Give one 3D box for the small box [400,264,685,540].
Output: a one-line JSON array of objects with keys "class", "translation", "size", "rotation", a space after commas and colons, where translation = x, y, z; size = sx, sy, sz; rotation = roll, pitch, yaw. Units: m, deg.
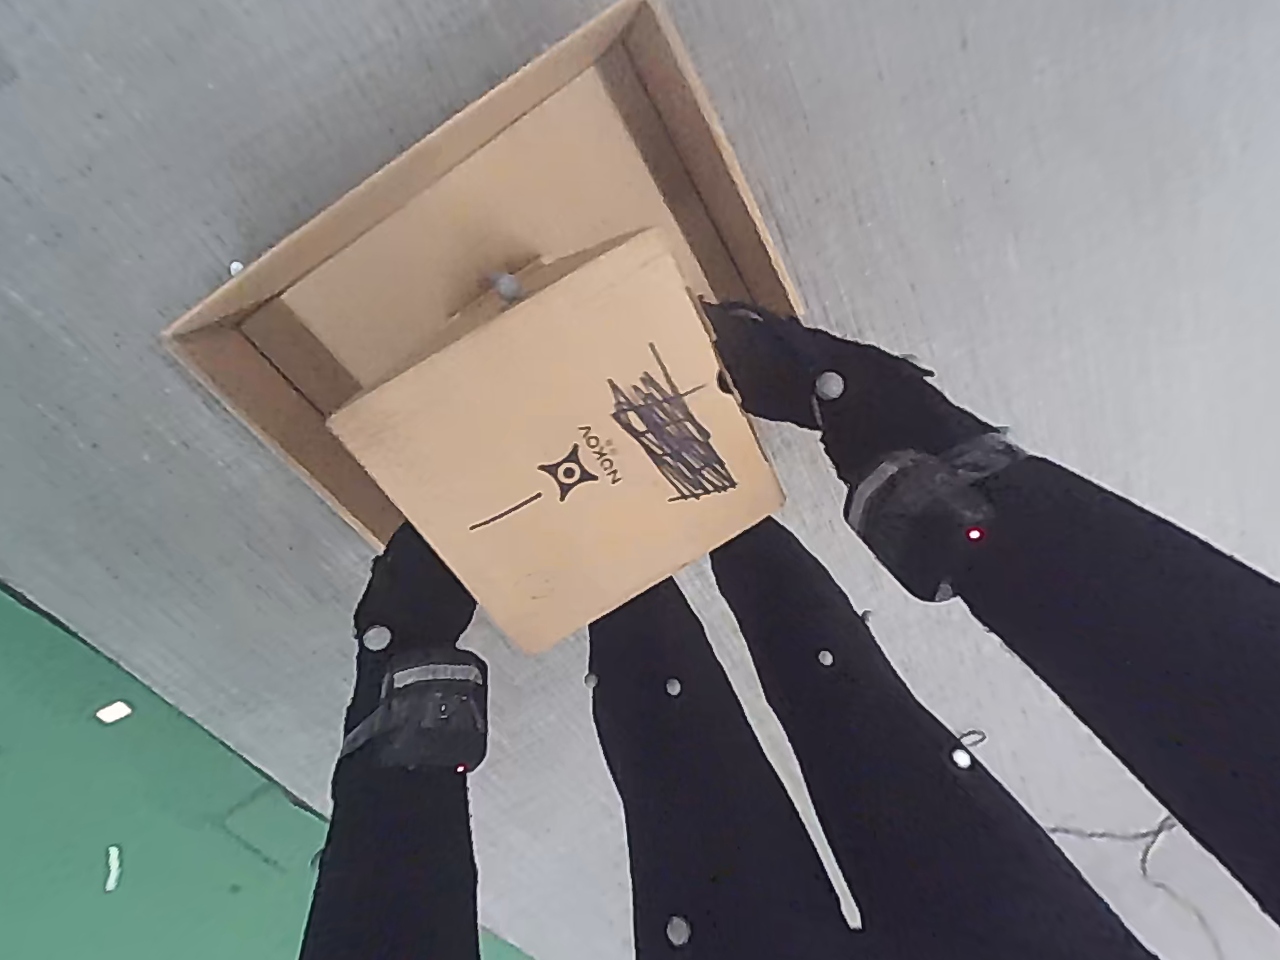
[{"class": "small box", "translation": [-0.084, -0.083, 0.500], "size": [0.168, 0.176, 0.179], "rotation": [-30, 115, -1]}]
